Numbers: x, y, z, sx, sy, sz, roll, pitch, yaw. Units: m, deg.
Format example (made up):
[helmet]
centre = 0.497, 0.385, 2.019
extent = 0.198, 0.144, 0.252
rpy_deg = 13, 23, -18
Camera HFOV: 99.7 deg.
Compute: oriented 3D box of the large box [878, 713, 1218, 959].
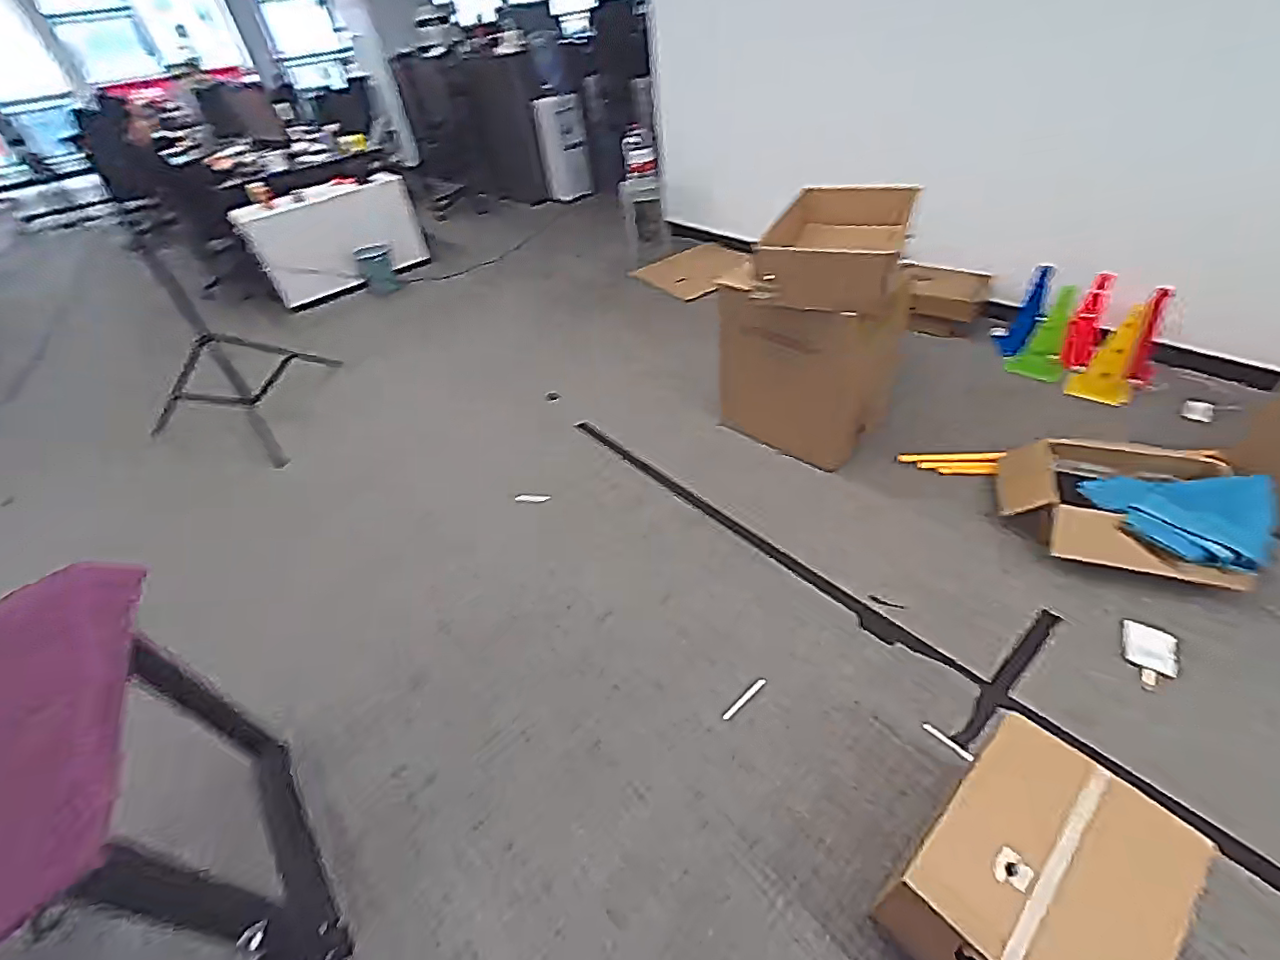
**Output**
[large box]
centre = 0.697, 0.724, 0.966
extent = 0.408, 0.320, 0.320
rpy_deg = -35, 48, -25
